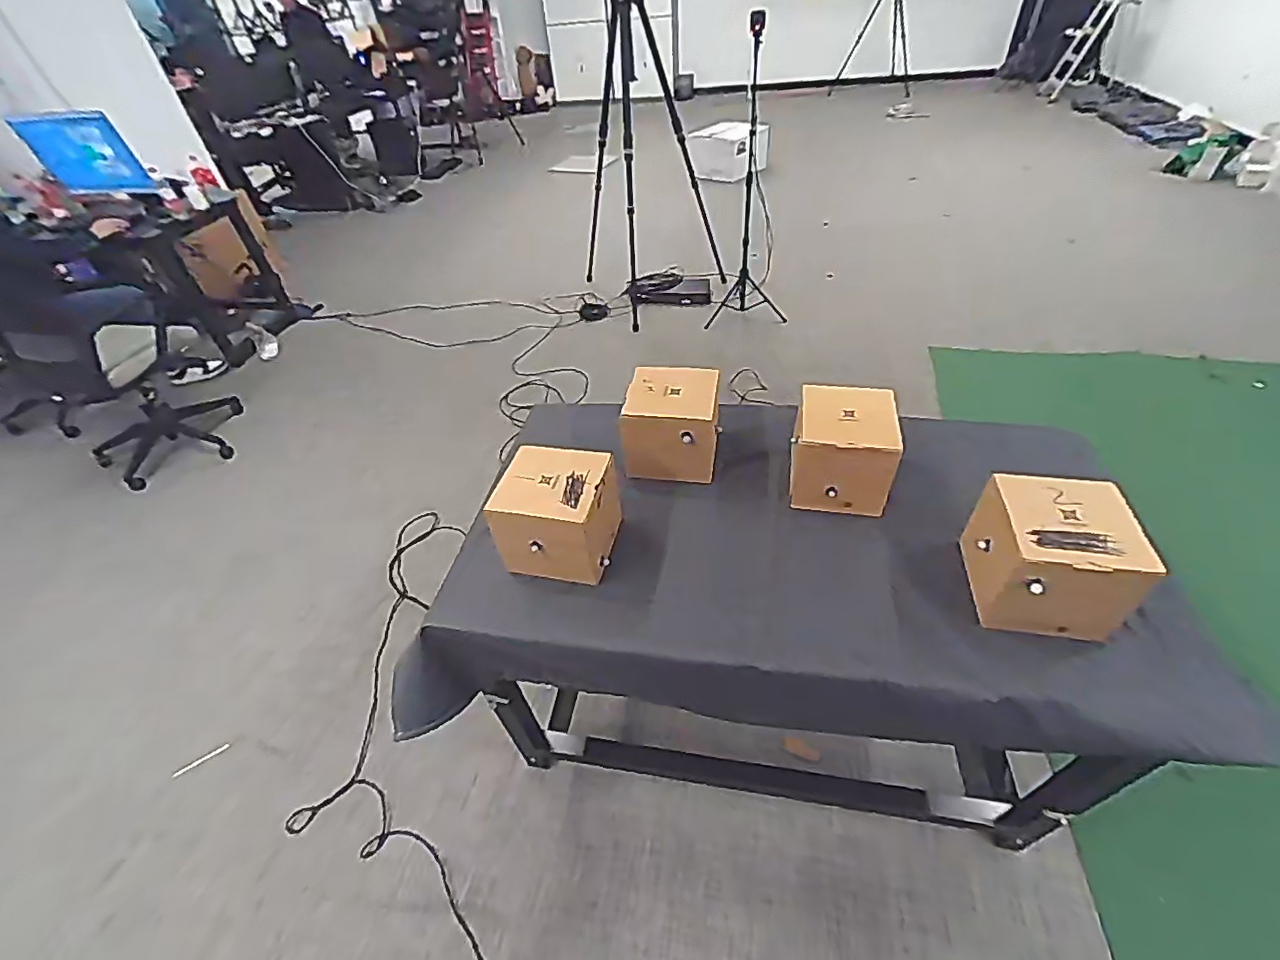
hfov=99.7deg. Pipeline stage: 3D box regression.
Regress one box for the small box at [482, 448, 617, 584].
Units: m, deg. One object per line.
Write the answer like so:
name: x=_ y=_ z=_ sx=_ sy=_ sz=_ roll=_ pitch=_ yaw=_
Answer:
small box: x=-0.147 y=0.065 z=0.959 sx=0.179 sy=0.176 sz=0.168 roll=6 pitch=44 yaw=13

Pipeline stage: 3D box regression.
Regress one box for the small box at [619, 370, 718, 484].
small box: x=0.065 y=-0.108 z=1.114 sx=0.179 sy=0.176 sz=0.168 roll=4 pitch=45 yaw=11

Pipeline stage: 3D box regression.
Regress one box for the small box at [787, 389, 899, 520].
small box: x=0.376 y=-0.051 z=1.030 sx=0.168 sy=0.176 sz=0.179 roll=6 pitch=46 yaw=11
